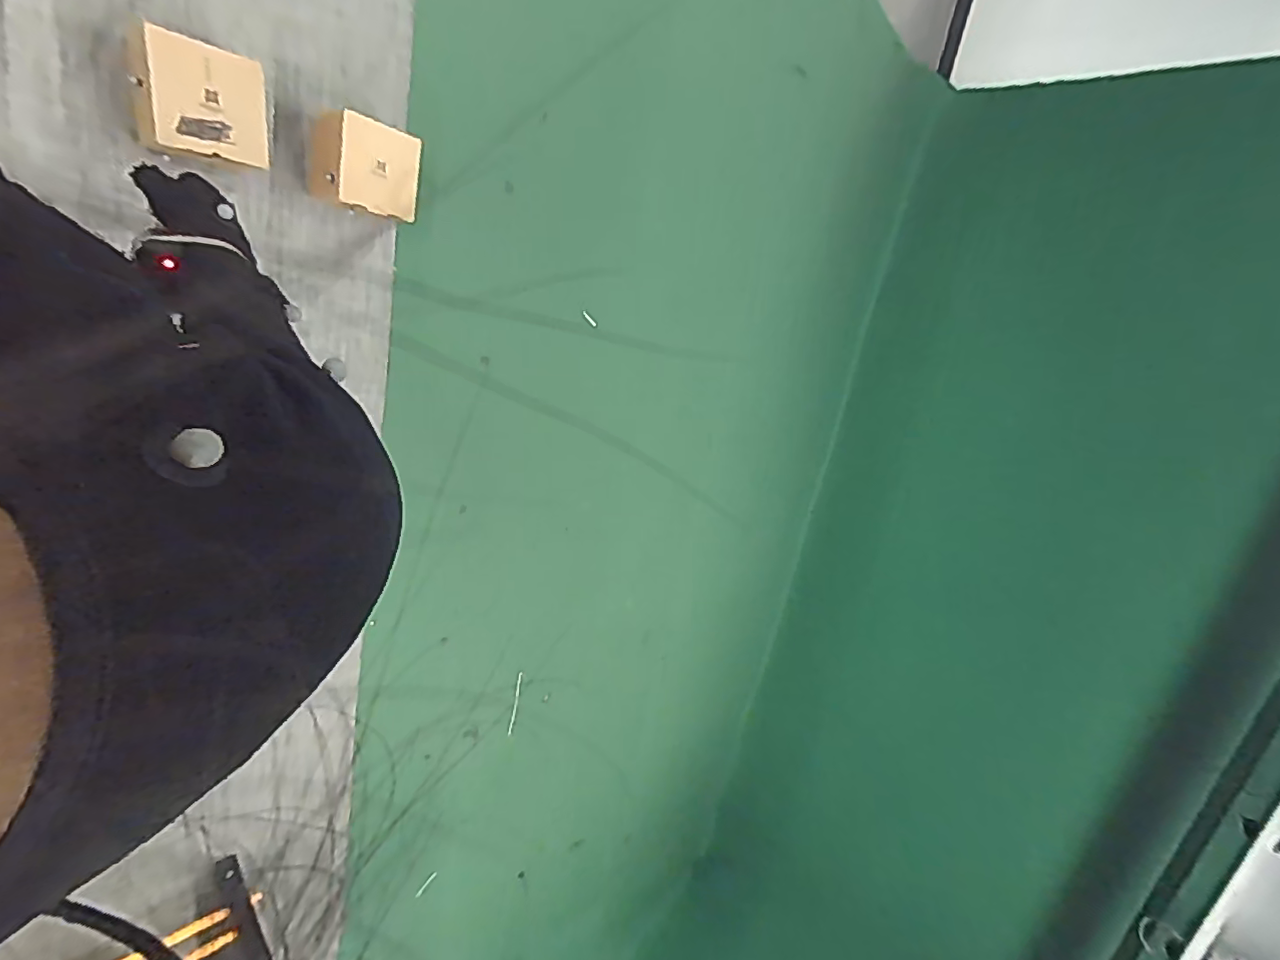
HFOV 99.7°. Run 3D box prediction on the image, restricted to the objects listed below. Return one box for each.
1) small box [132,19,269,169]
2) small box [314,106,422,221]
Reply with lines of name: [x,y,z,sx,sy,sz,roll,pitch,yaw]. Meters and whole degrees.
small box: [-0.805,-0.689,0.994,0.168,0.176,0.179,-11,116,-47]
small box: [-0.614,-0.701,1.216,0.168,0.176,0.179,-5,113,-48]
